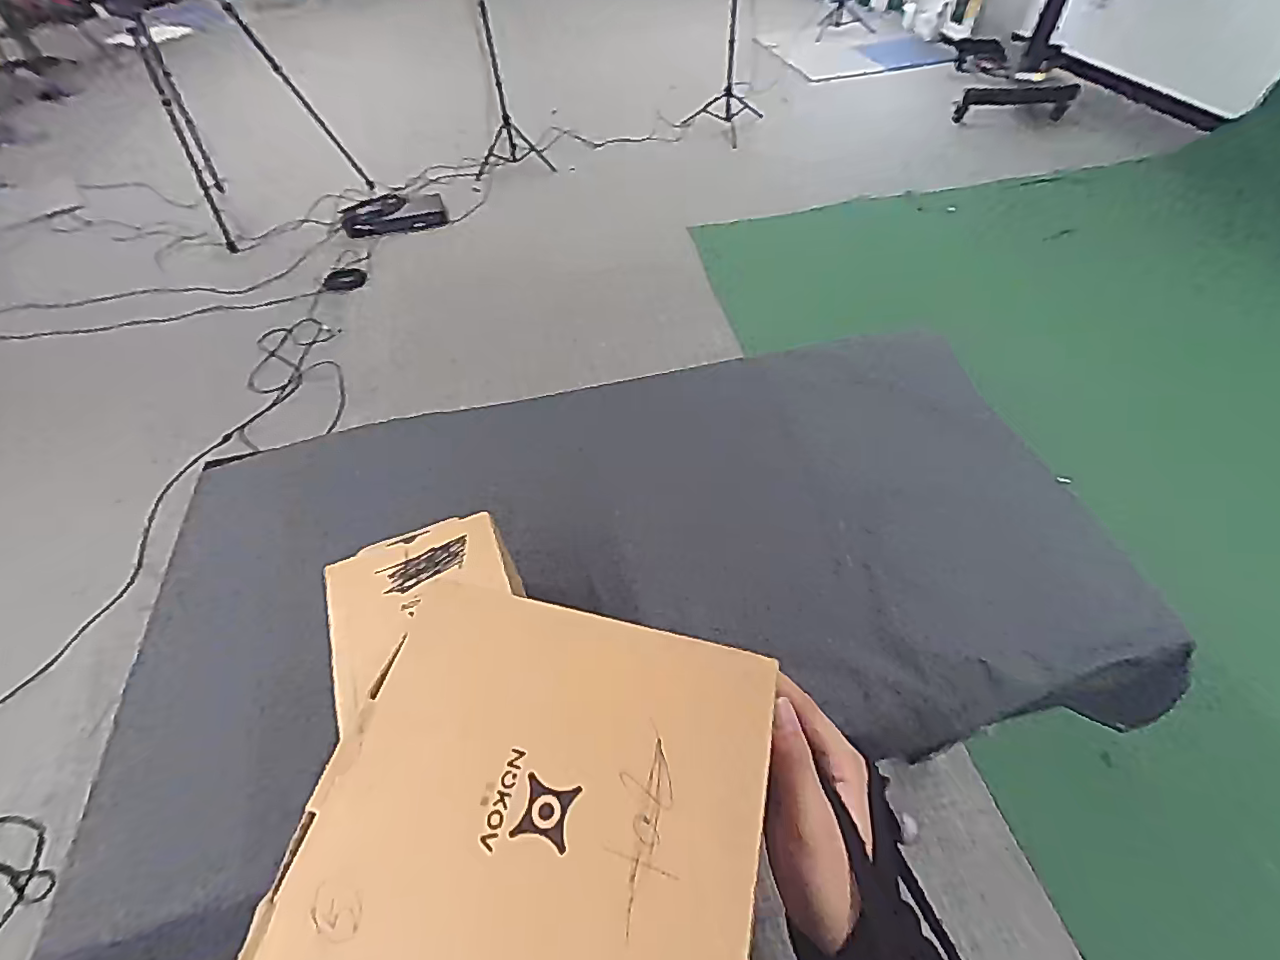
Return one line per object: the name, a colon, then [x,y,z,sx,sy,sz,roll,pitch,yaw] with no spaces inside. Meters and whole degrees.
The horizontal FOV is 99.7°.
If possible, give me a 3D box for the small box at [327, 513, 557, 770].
small box: [-0.198,0.169,0.564,0.168,0.176,0.179,-20,55,-12]
